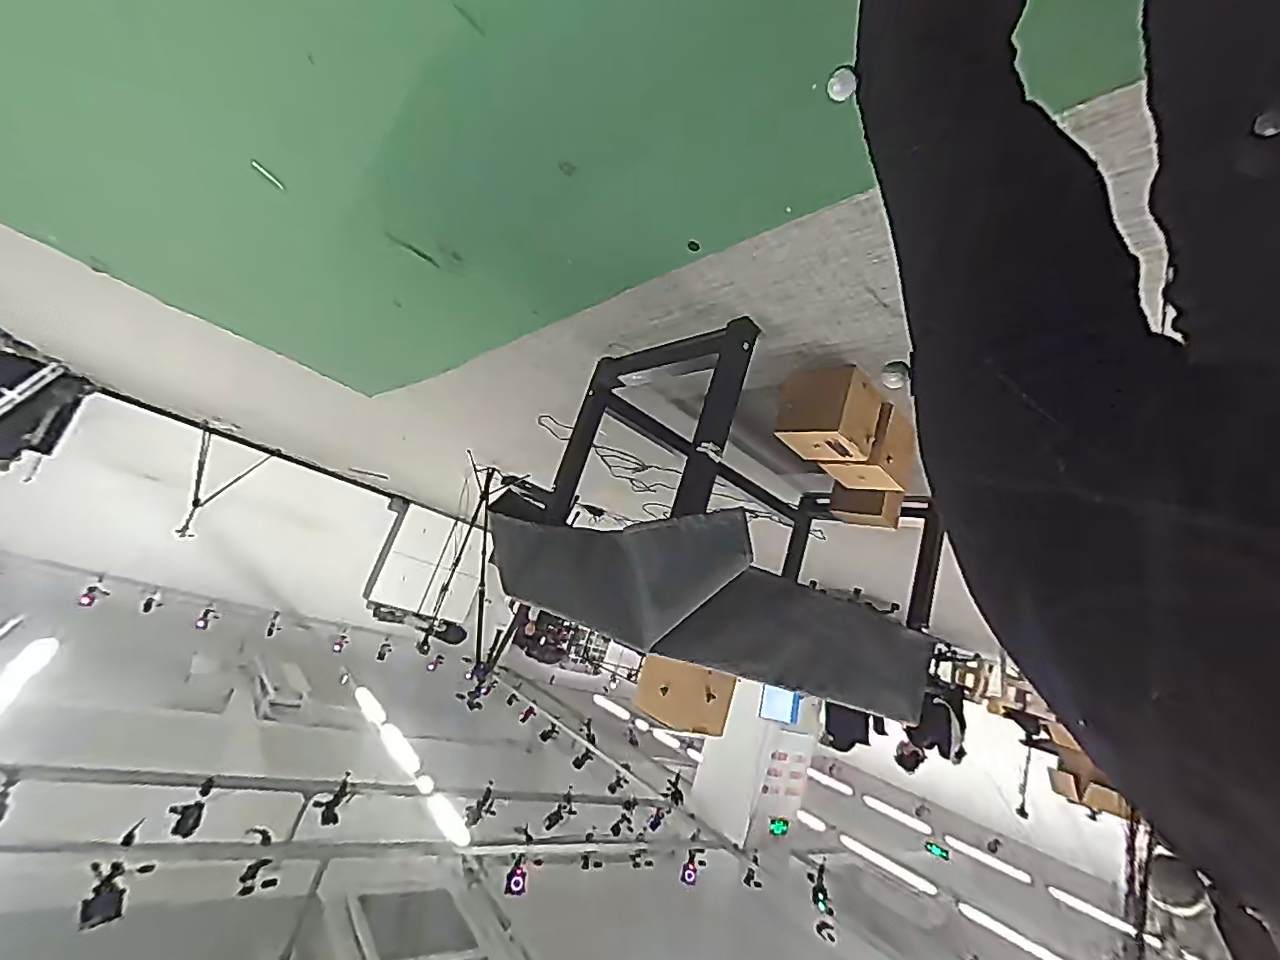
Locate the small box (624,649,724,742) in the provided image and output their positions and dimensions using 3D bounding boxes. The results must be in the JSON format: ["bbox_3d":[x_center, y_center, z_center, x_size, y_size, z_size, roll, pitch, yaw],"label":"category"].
[{"bbox_3d":[0.091,0.531,1.348,0.168,0.176,0.179,28,163,-34],"label":"small box"}]

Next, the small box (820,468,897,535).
[{"bbox_3d":[0.729,0.068,1.796,0.179,0.176,0.168,5,162,43],"label":"small box"}]
